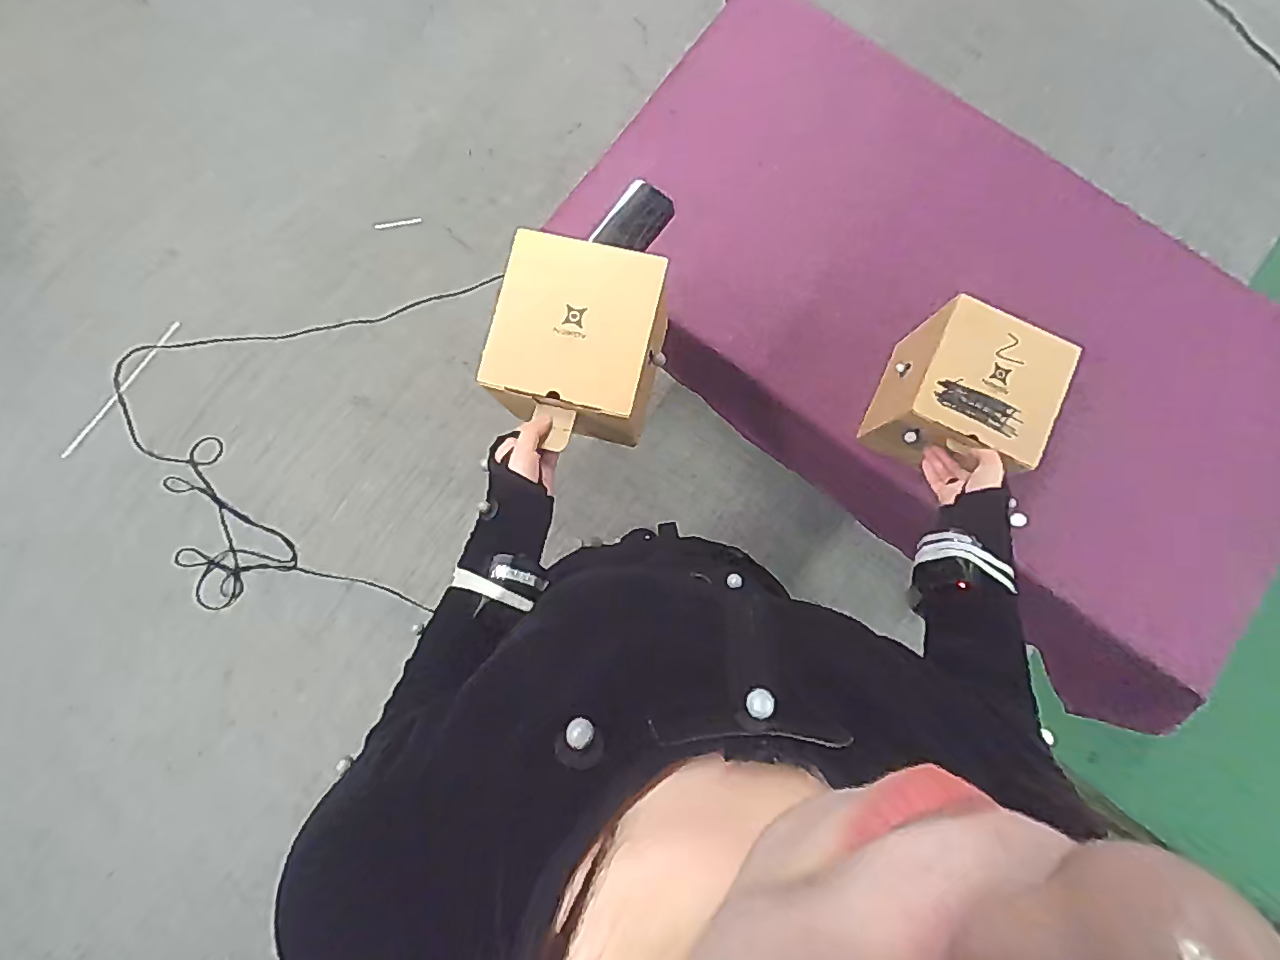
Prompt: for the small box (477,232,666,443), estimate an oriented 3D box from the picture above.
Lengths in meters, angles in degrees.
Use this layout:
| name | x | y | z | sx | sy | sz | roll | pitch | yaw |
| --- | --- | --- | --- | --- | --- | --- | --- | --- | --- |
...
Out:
| name | x | y | z | sx | sy | sz | roll | pitch | yaw |
| --- | --- | --- | --- | --- | --- | --- | --- | --- | --- |
| small box | -0.070 | -0.156 | 0.644 | 0.168 | 0.176 | 0.179 | 13 | 85 | 3 |
